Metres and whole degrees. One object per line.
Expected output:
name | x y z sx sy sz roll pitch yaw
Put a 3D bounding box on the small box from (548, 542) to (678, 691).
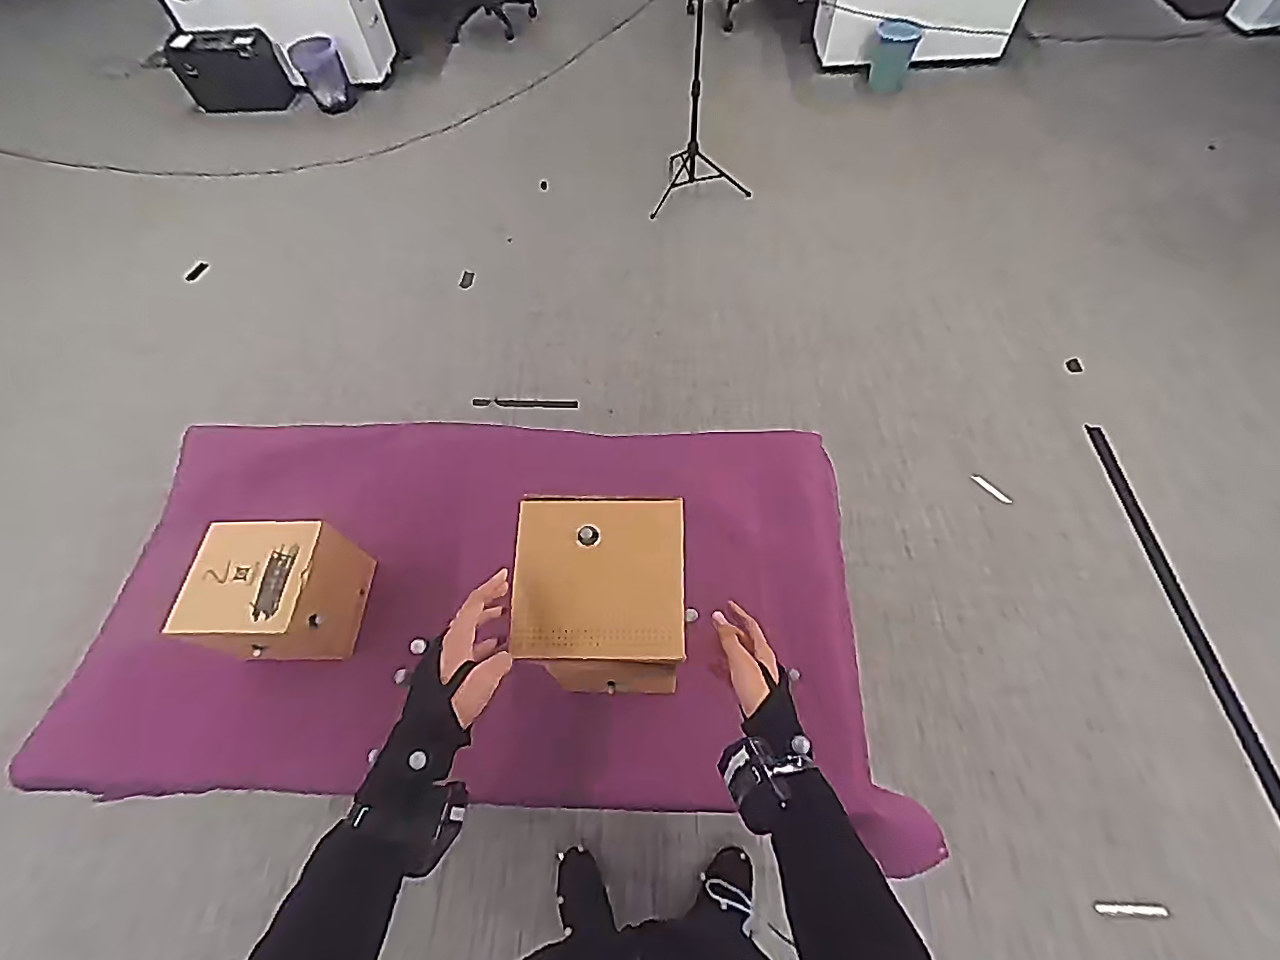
small box | -0.028 0.204 0.788 0.168 0.176 0.179 1 60 3
